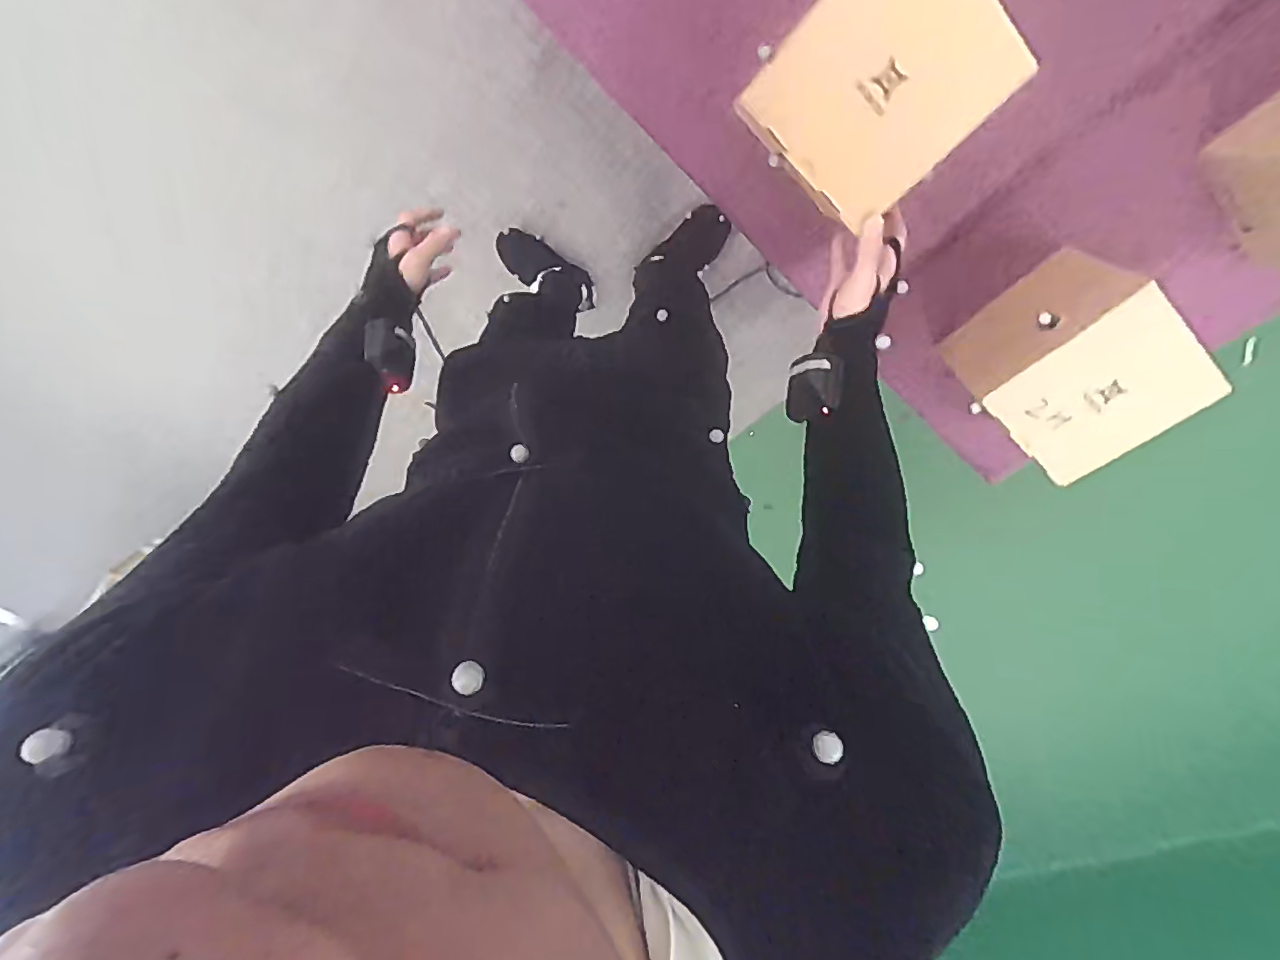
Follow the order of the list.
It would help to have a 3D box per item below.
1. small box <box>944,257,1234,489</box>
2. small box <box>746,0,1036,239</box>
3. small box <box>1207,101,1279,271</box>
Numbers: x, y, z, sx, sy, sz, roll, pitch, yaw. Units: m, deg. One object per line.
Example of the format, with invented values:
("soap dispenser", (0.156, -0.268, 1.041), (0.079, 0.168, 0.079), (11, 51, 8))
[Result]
("small box", (0.501, -0.130, 0.634), (0.168, 0.176, 0.179), (39, 122, -15))
("small box", (0.216, -0.374, 0.520), (0.168, 0.176, 0.179), (38, 122, -17))
("small box", (0.700, -0.297, 0.489), (0.168, 0.176, 0.179), (41, 121, -17))
